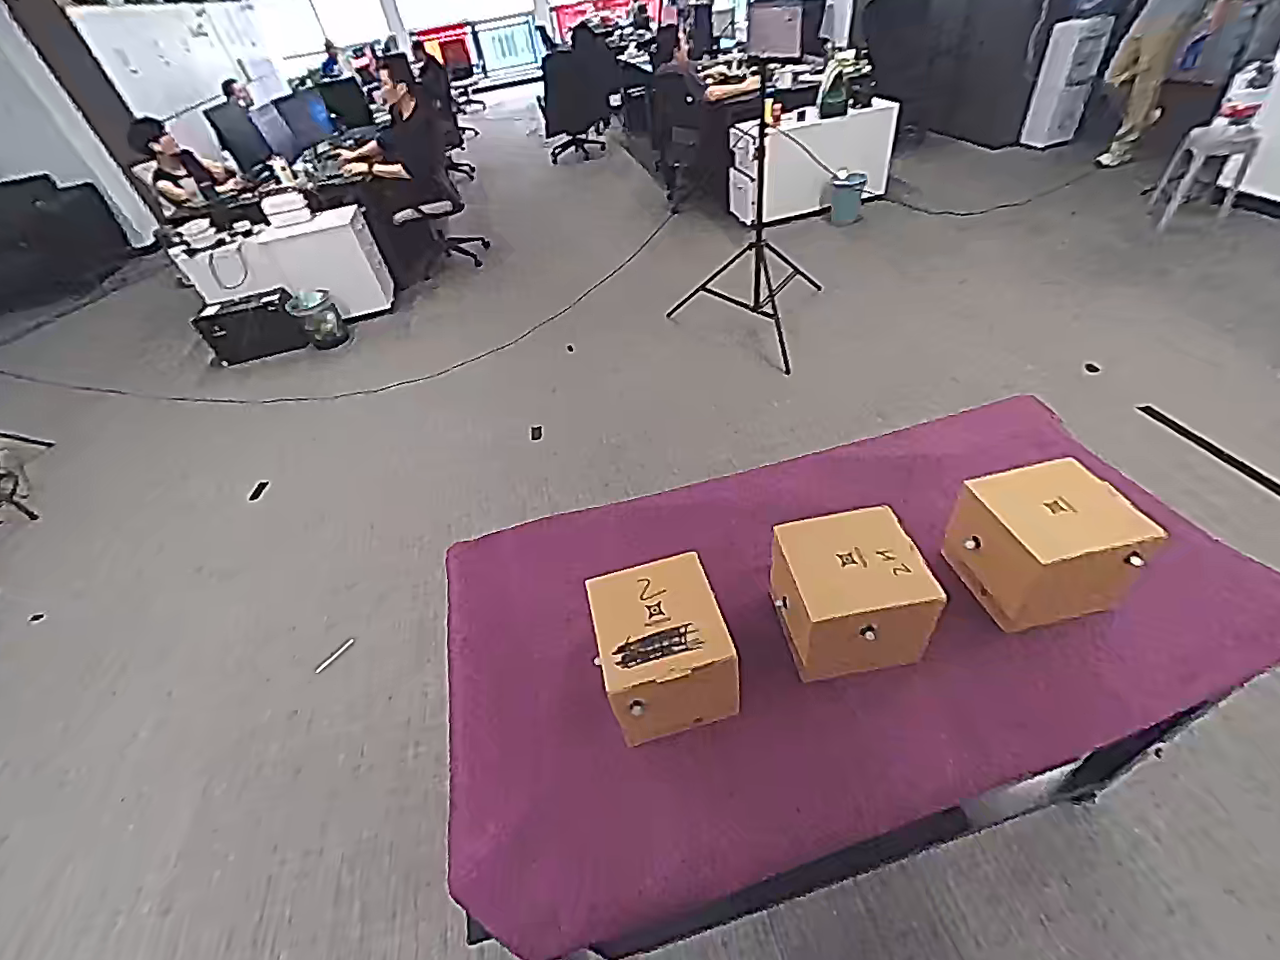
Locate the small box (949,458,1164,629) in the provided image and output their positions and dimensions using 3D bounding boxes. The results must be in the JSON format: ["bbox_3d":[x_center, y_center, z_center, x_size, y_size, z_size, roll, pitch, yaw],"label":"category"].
[{"bbox_3d":[0.591,0.097,0.803,0.179,0.176,0.168,-13,42,-3],"label":"small box"}]

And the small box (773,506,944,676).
[{"bbox_3d":[0.300,0.165,0.786,0.179,0.176,0.168,-10,43,0],"label":"small box"}]
